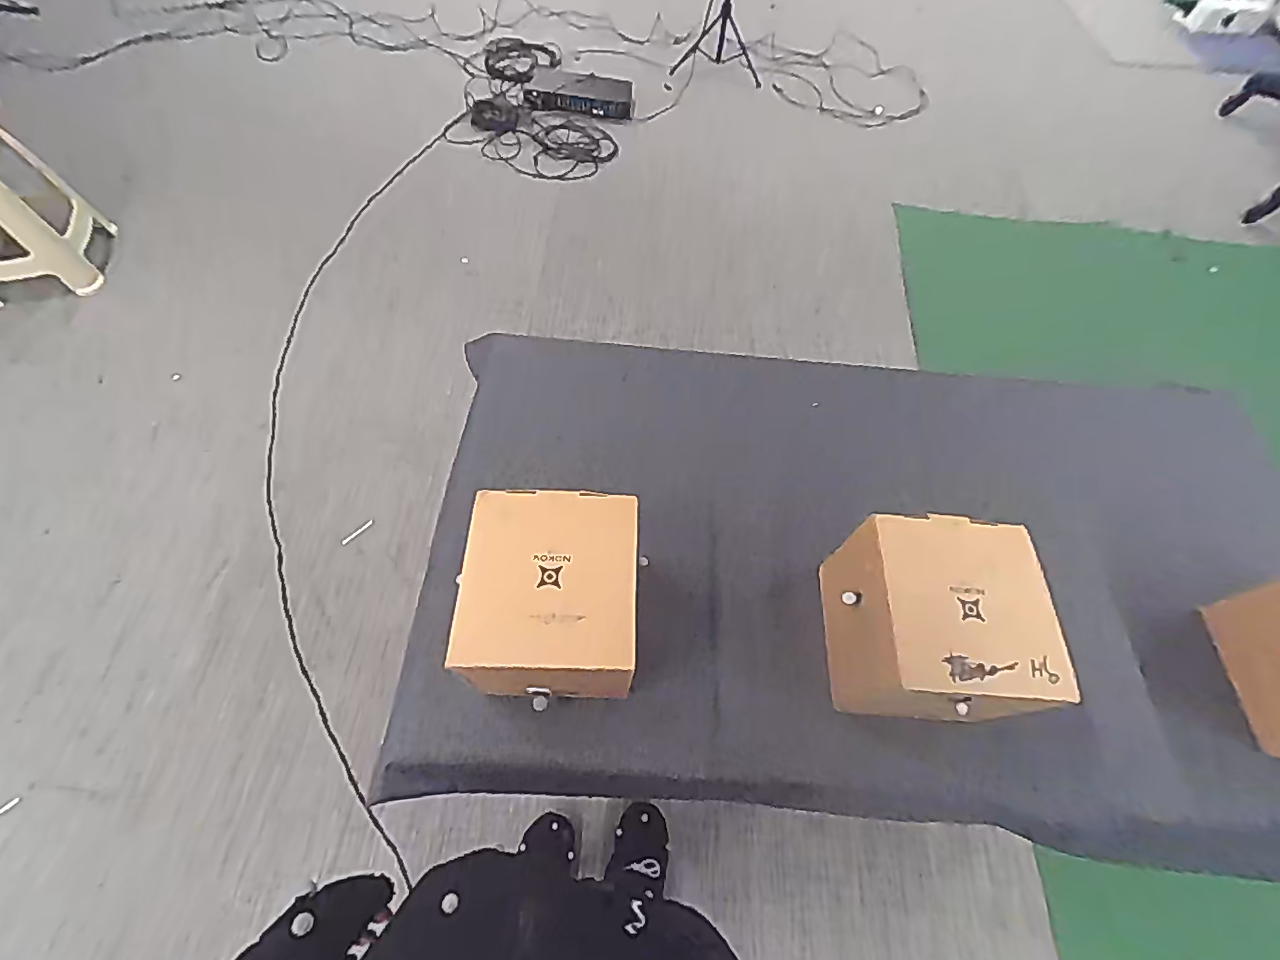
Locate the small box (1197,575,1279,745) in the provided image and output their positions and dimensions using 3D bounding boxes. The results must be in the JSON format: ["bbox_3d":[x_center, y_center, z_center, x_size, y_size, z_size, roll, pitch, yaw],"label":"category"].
[{"bbox_3d":[0.799,0.203,0.595,0.168,0.176,0.179,4,60,1],"label":"small box"}]

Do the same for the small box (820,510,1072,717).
[{"bbox_3d":[0.311,0.153,0.598,0.168,0.176,0.179,4,60,-1],"label":"small box"}]

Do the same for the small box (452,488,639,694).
[{"bbox_3d":[-0.088,0.125,0.586,0.168,0.176,0.179,1,61,-2],"label":"small box"}]
